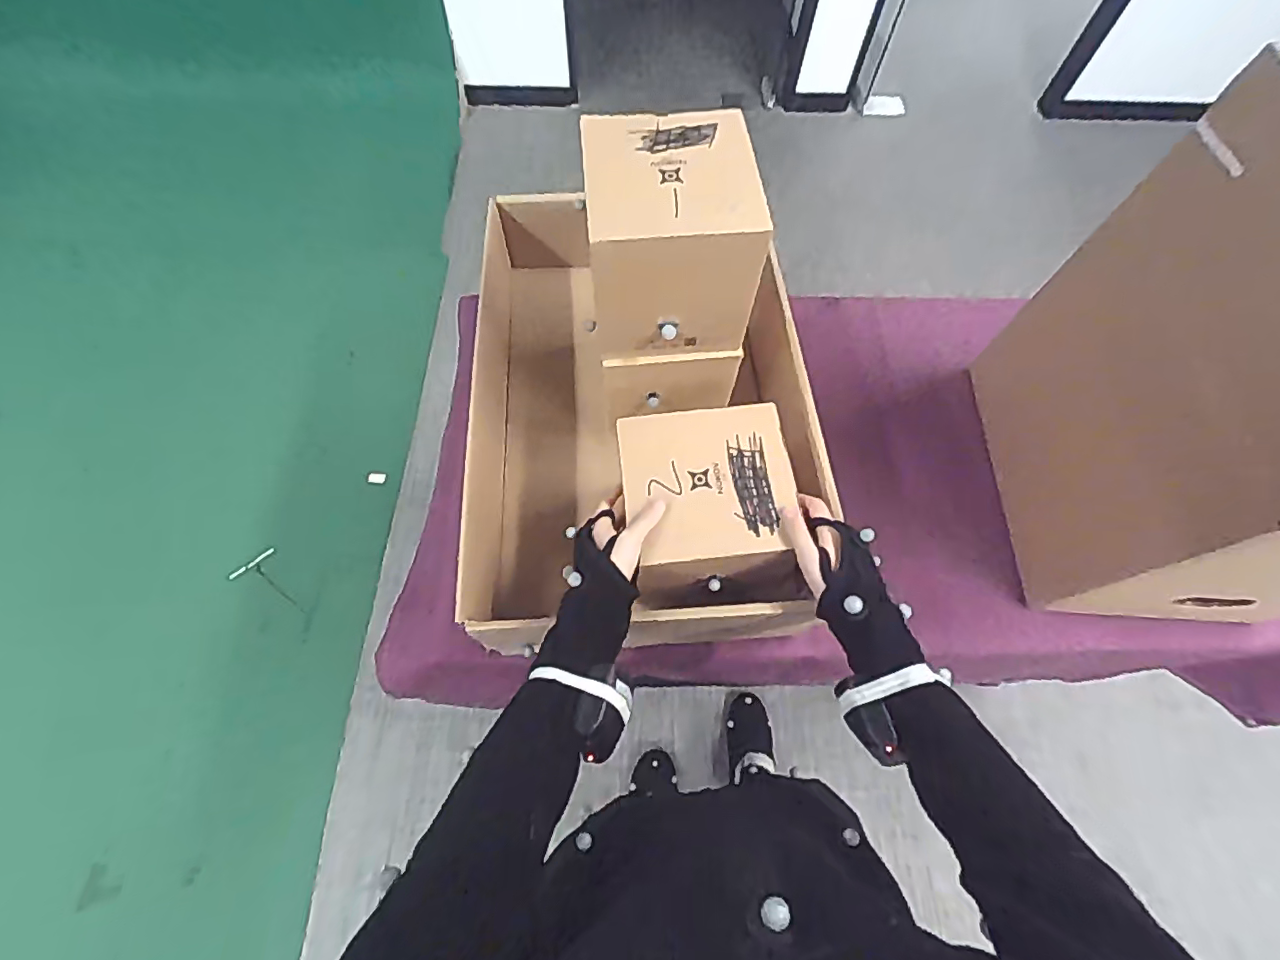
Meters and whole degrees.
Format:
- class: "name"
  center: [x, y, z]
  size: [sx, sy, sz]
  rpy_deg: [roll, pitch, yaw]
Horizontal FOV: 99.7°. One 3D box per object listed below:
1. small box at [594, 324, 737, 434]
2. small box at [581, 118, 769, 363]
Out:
- class: "small box"
  center: [0.026, -0.173, 0.730]
  size: [0.168, 0.176, 0.179]
  rpy_deg: [-6, 65, -3]
- class: "small box"
  center: [0.026, -0.251, 0.584]
  size: [0.168, 0.176, 0.179]
  rpy_deg: [-5, 66, -2]
